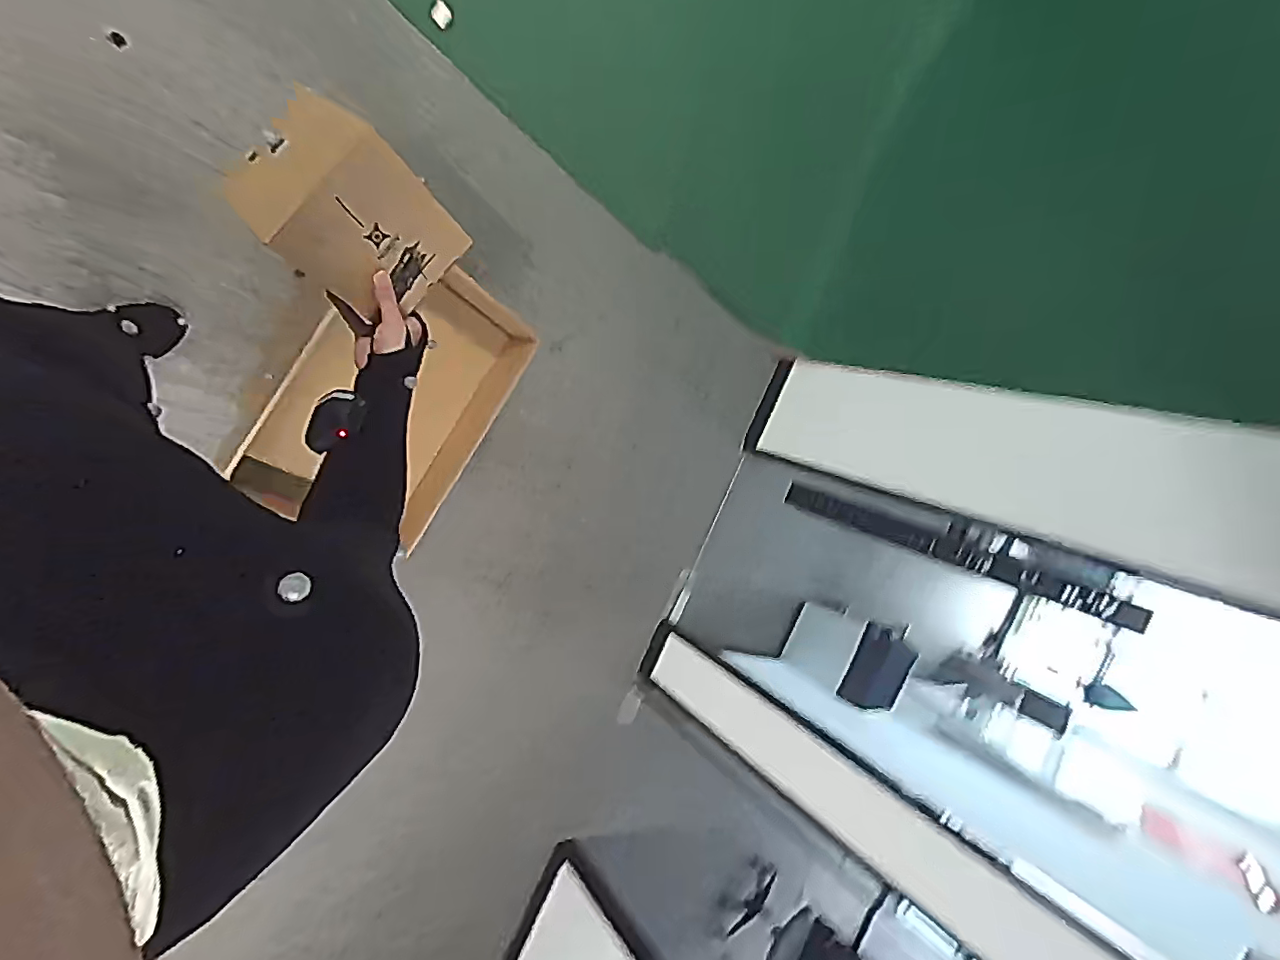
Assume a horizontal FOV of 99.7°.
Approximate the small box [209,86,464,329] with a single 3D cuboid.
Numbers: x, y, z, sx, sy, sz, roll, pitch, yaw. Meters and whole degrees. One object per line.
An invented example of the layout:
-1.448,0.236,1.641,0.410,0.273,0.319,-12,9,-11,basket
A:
-0.358,-0.323,0.649,0.168,0.176,0.179,-50,151,-1,small box
